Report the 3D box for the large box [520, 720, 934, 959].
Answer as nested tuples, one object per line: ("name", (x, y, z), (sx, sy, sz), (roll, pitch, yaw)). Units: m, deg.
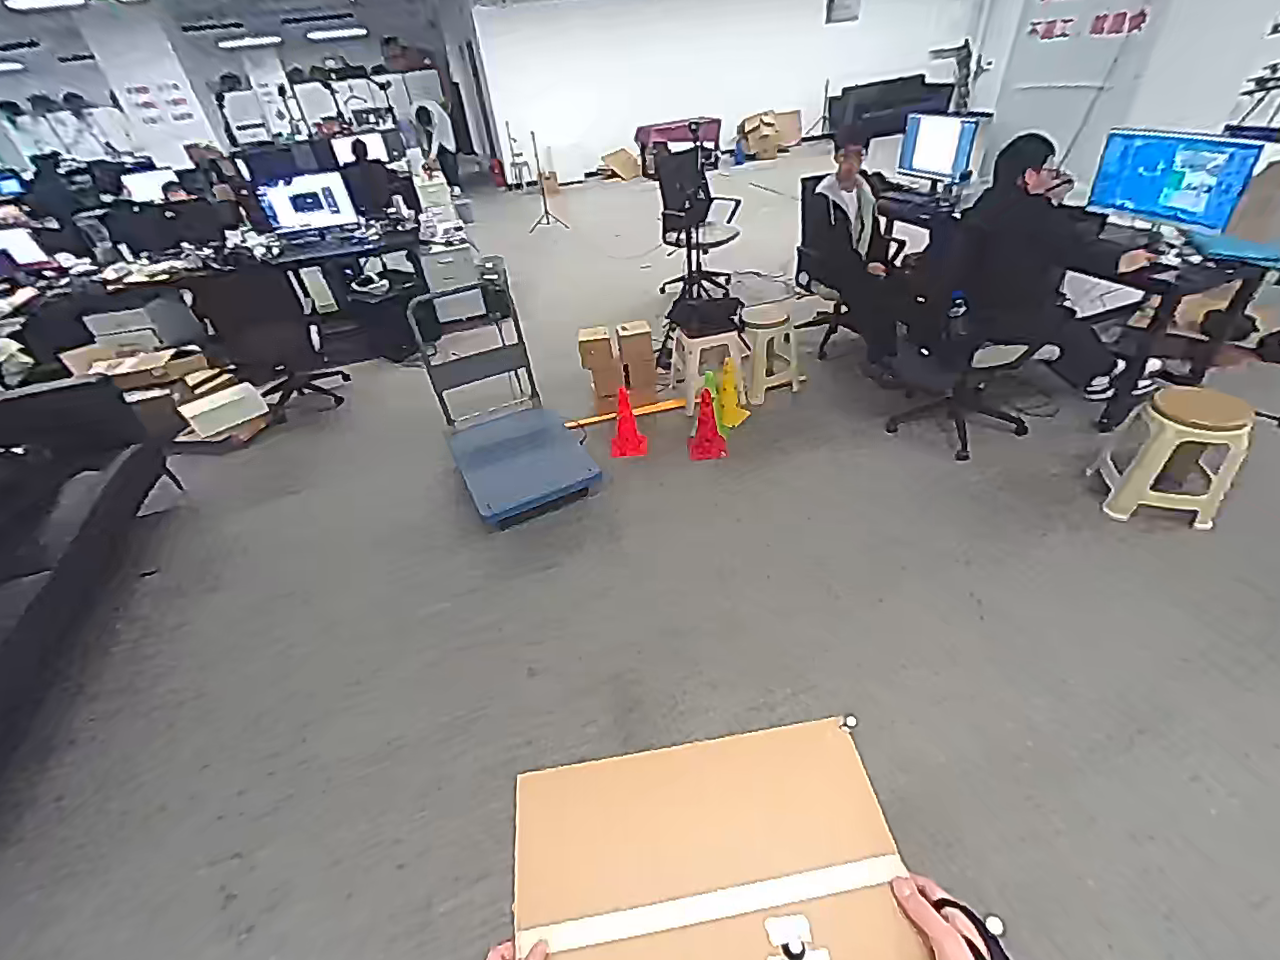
("large box", (0.083, 0.545, 0.664), (0.408, 0.320, 0.320), (-9, 46, -4))
